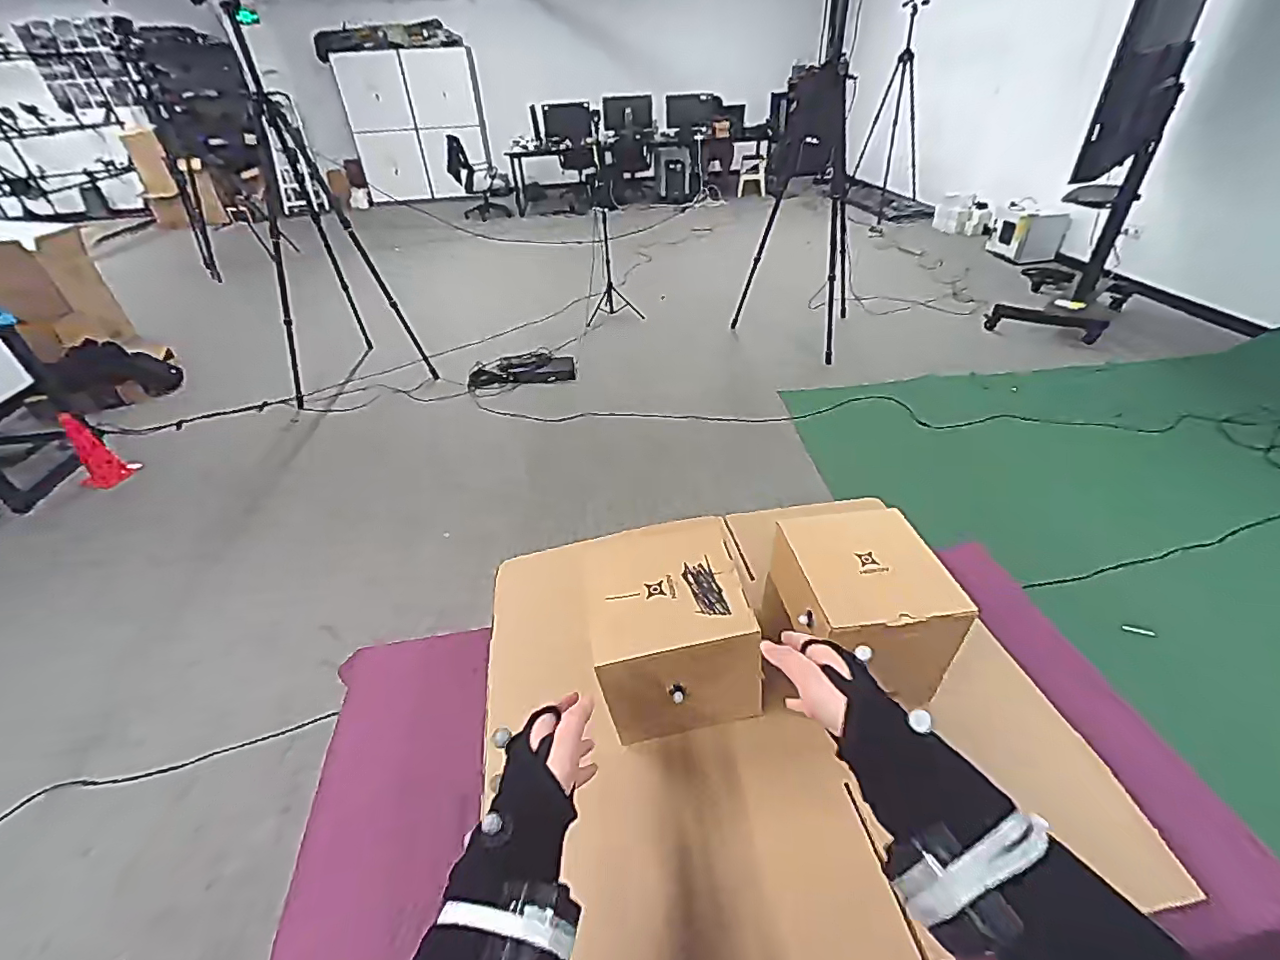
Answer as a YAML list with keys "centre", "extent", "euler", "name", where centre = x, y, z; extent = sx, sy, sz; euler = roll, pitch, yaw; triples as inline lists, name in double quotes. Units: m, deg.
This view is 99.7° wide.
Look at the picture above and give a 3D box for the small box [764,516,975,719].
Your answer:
- centre: [0.266, 0.168, 0.680]
  extent: [0.168, 0.176, 0.179]
  euler: [-5, 38, -6]
  name: "small box"
